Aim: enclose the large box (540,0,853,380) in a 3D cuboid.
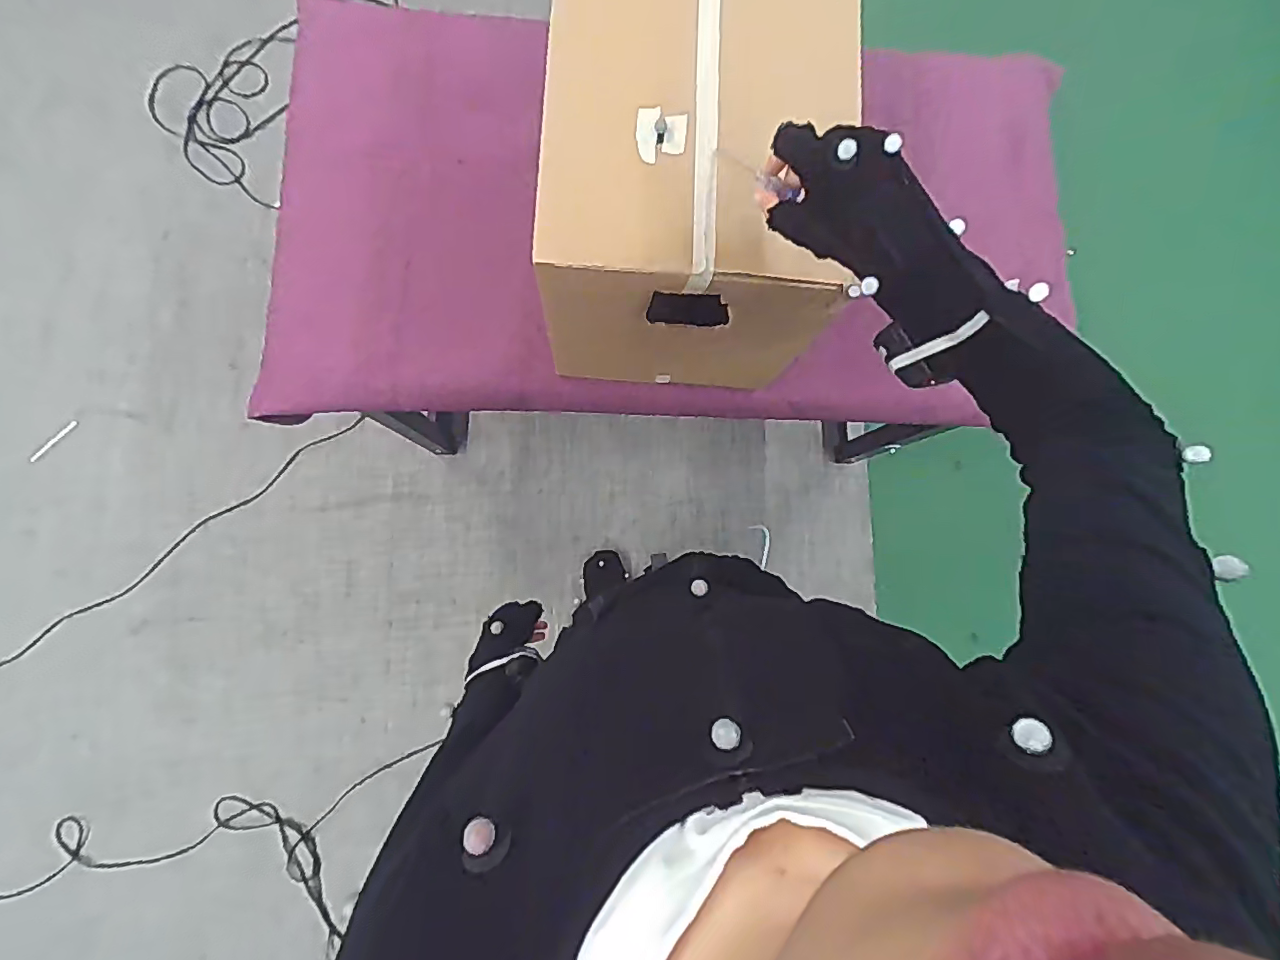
[{"bbox_3d":[0.050,-0.373,0.689,0.320,0.320,0.408,3,83,-4],"label":"large box"}]
